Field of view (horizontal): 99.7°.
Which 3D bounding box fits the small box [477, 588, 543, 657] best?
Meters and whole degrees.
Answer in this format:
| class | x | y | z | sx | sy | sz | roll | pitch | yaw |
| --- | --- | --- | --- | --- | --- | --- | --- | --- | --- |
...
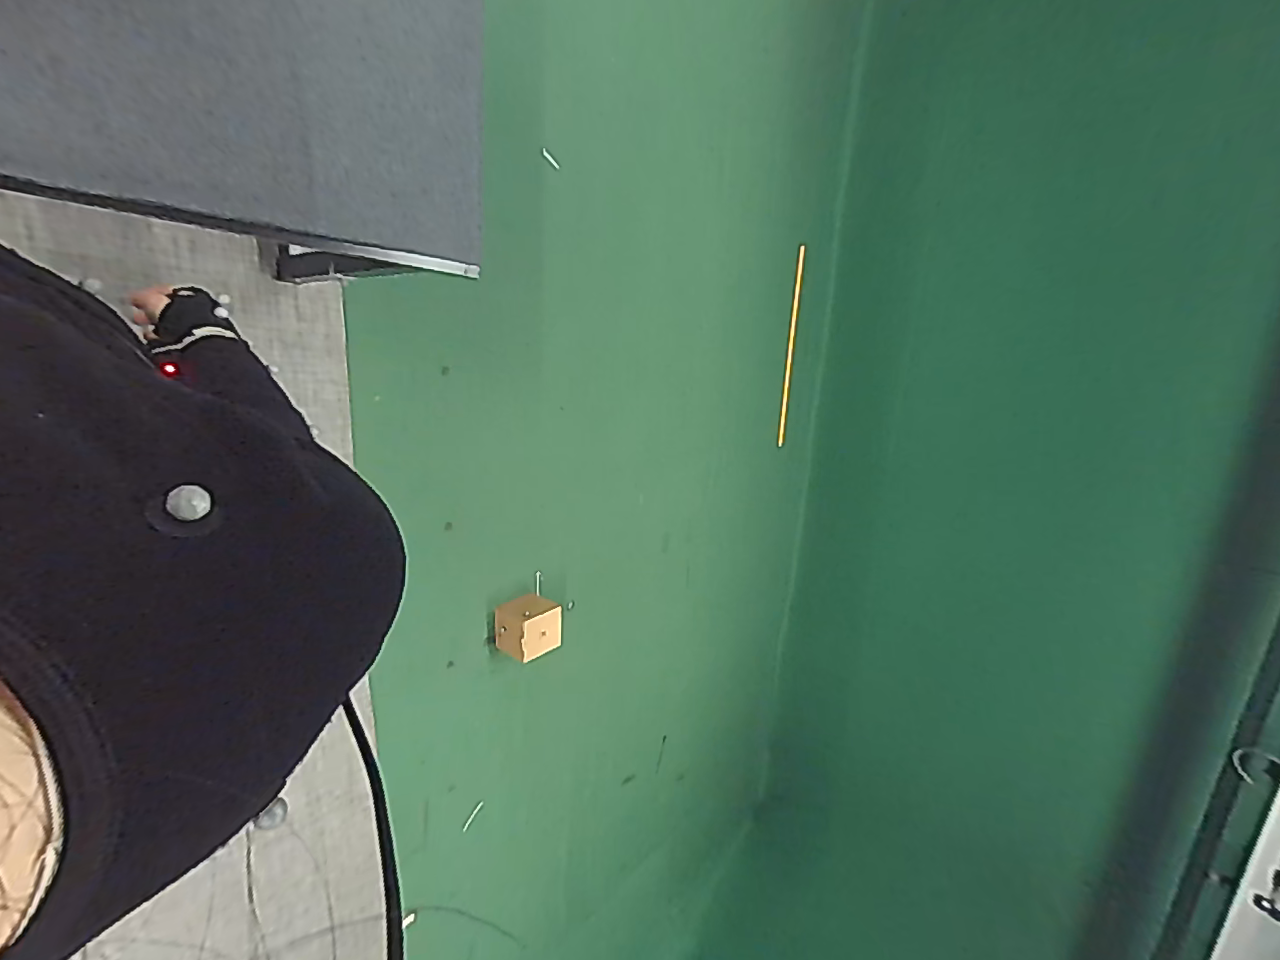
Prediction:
| class | x | y | z | sx | sy | sz | roll | pitch | yaw |
| --- | --- | --- | --- | --- | --- | --- | --- | --- | --- |
| small box | -0.481 | 0.519 | 2.003 | 0.179 | 0.176 | 0.168 | -14 | 113 | -49 |
